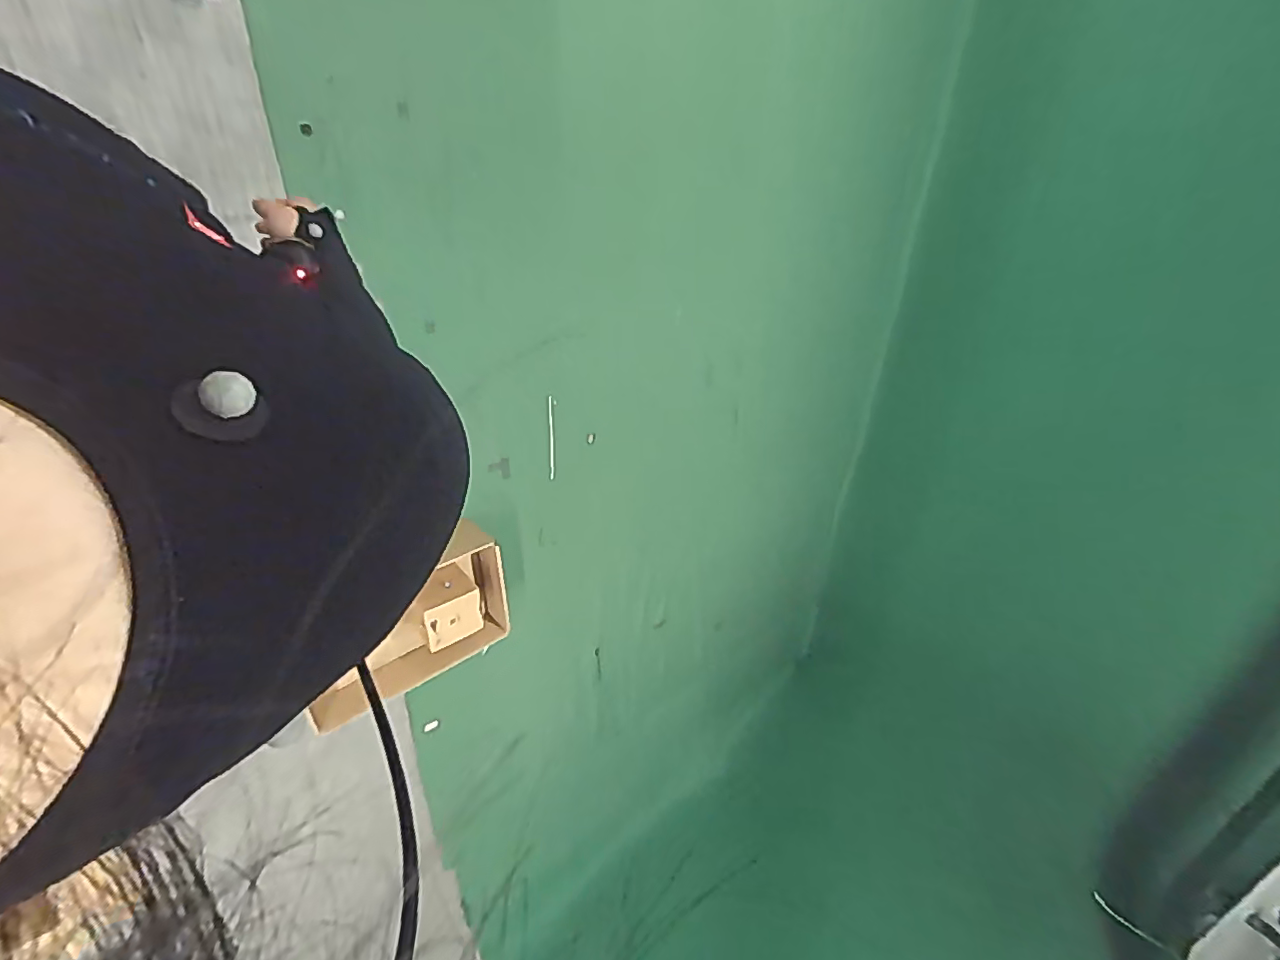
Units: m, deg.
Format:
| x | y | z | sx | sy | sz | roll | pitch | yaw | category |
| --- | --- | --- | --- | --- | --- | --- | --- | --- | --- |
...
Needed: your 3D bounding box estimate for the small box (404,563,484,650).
| x | y | z | sx | sy | sz | roll | pitch | yaw | category |
| --- | --- | --- | --- | --- | --- | --- | --- | --- | --- |
| -0.612 | 0.388 | 1.694 | 0.179 | 0.176 | 0.168 | -22 | 127 | -36 | small box |
